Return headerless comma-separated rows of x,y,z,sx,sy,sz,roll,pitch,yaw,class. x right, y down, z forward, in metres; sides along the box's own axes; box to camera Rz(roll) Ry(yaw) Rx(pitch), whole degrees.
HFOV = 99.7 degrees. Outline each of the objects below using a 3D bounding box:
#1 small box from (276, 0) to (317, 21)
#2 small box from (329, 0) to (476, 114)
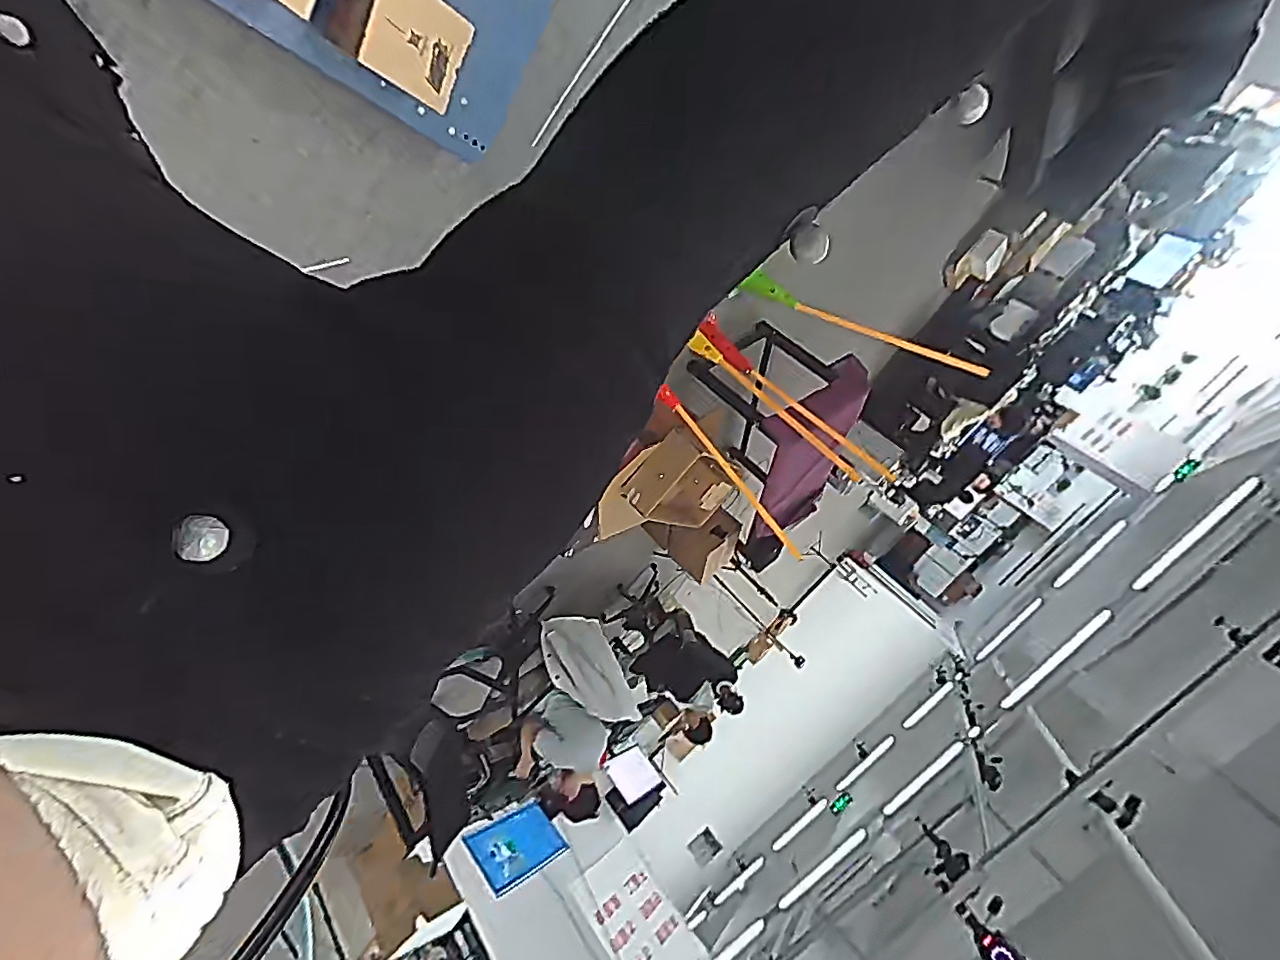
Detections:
-0.593,-0.864,0.822,0.179,0.176,0.168,7,123,-55,small box
-0.452,-0.850,1.027,0.179,0.176,0.168,2,126,-54,small box
